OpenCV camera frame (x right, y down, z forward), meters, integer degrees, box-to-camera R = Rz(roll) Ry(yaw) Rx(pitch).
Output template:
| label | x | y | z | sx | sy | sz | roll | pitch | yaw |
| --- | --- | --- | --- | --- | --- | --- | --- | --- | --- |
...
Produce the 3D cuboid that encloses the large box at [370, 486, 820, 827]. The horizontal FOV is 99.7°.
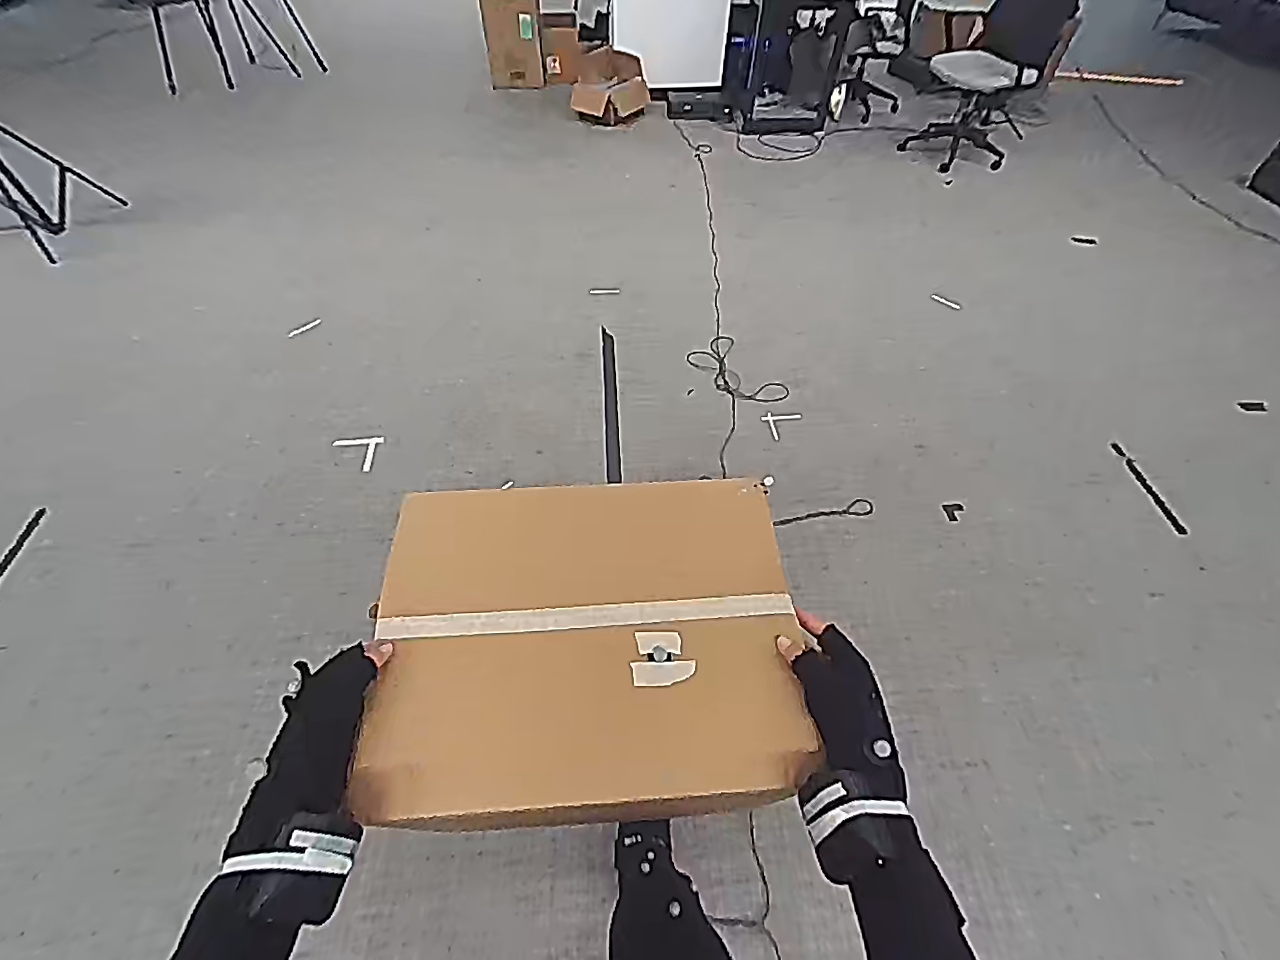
| label | x | y | z | sx | sy | sz | roll | pitch | yaw |
| --- | --- | --- | --- | --- | --- | --- | --- | --- | --- |
| large box | -0.051 | 0.227 | 0.675 | 0.408 | 0.320 | 0.320 | -2 | 56 | -4 |
